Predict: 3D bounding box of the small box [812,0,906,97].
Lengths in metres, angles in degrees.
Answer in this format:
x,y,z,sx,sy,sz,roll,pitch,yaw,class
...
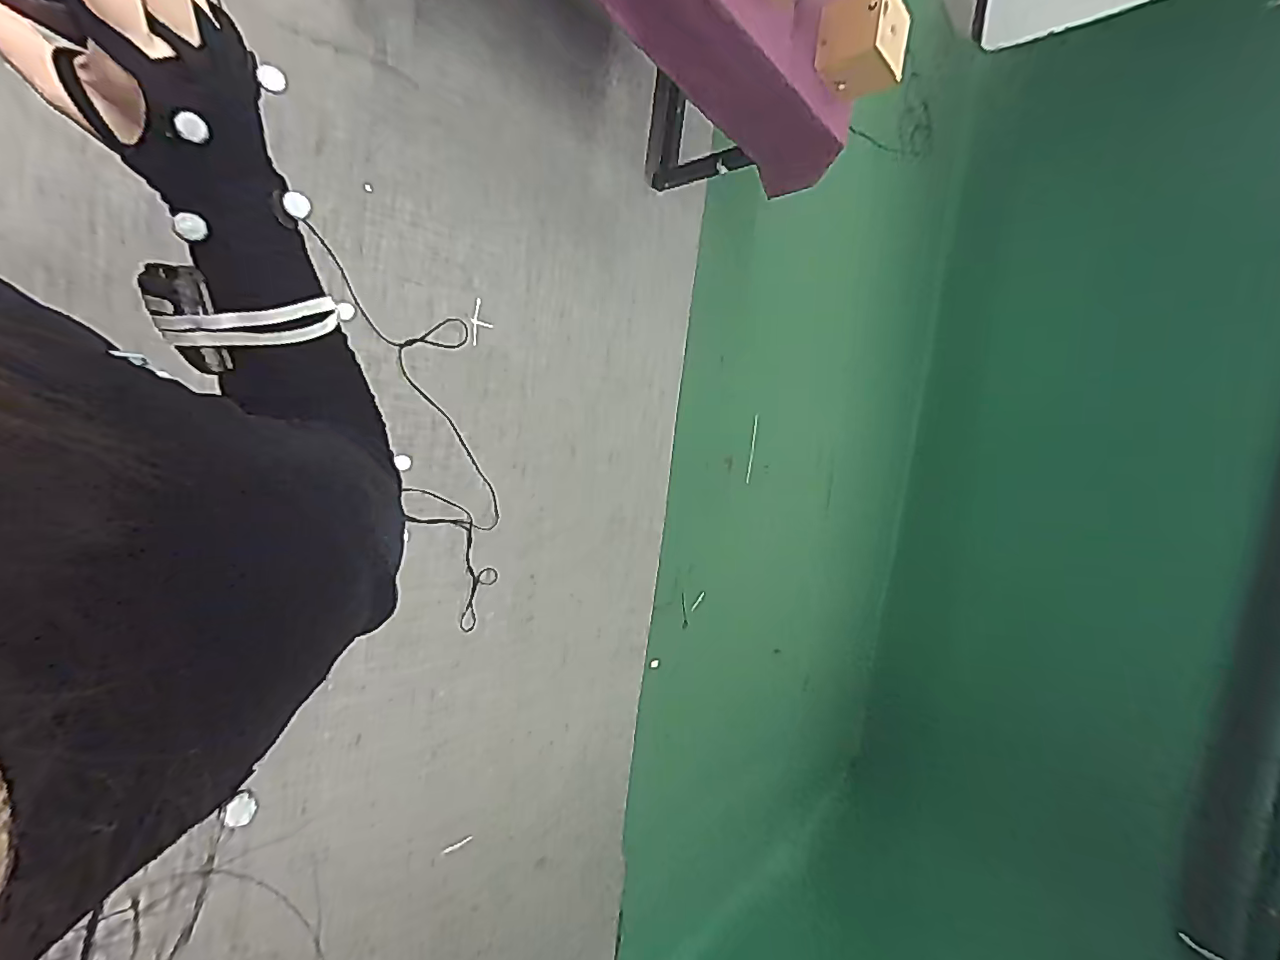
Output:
x,y,z,sx,sy,sz,roll,pitch,yaw,class
0.580,-1.158,1.434,0.179,0.176,0.168,1,97,-47,small box
